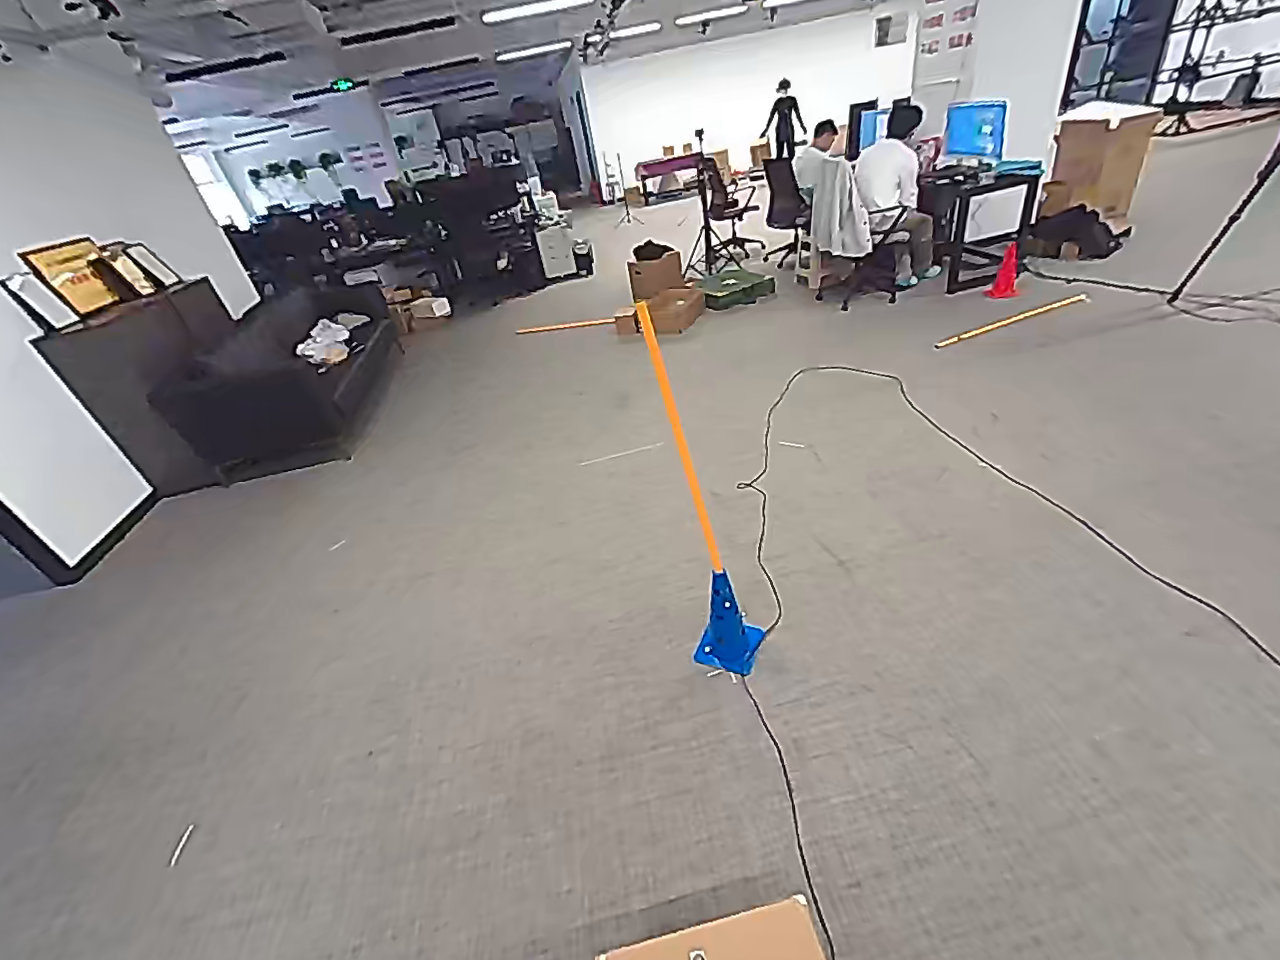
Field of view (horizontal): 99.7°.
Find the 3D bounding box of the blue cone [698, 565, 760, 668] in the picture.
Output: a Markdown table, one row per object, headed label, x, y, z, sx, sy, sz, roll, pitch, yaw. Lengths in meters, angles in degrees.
| label | x | y | z | sx | sy | sz | roll | pitch | yaw |
| --- | --- | --- | --- | --- | --- | --- | --- | --- | --- |
| blue cone | 0.276 | 0.422 | 1.760 | 0.192 | 0.380 | 0.193 | 5 | 38 | 25 |
